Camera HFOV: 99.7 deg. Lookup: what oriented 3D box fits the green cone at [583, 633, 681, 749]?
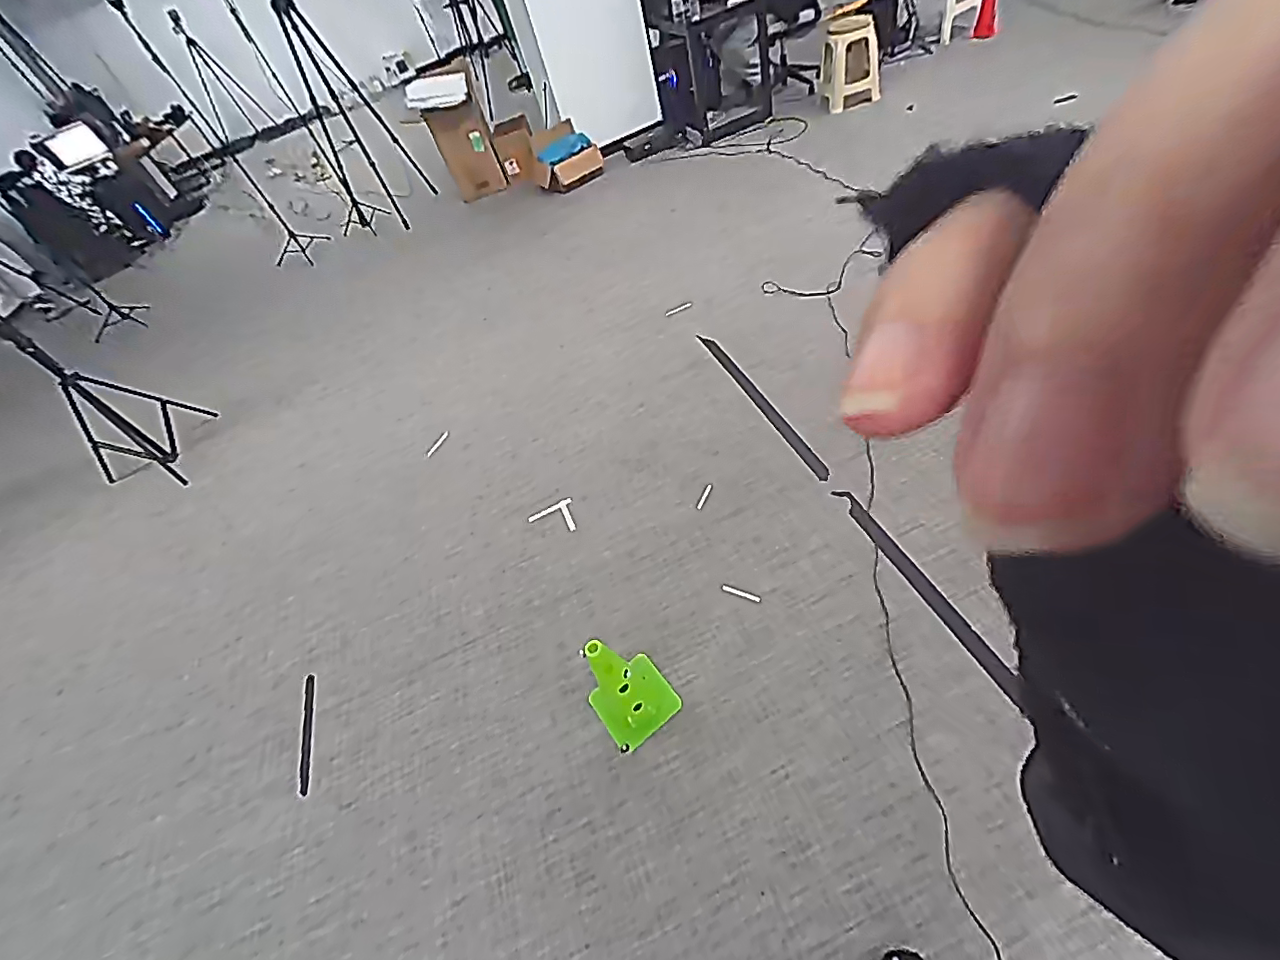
[{"bbox_3d":[-0.059,0.483,1.349,0.200,0.368,0.202,-36,47,-14],"label":"green cone"}]
